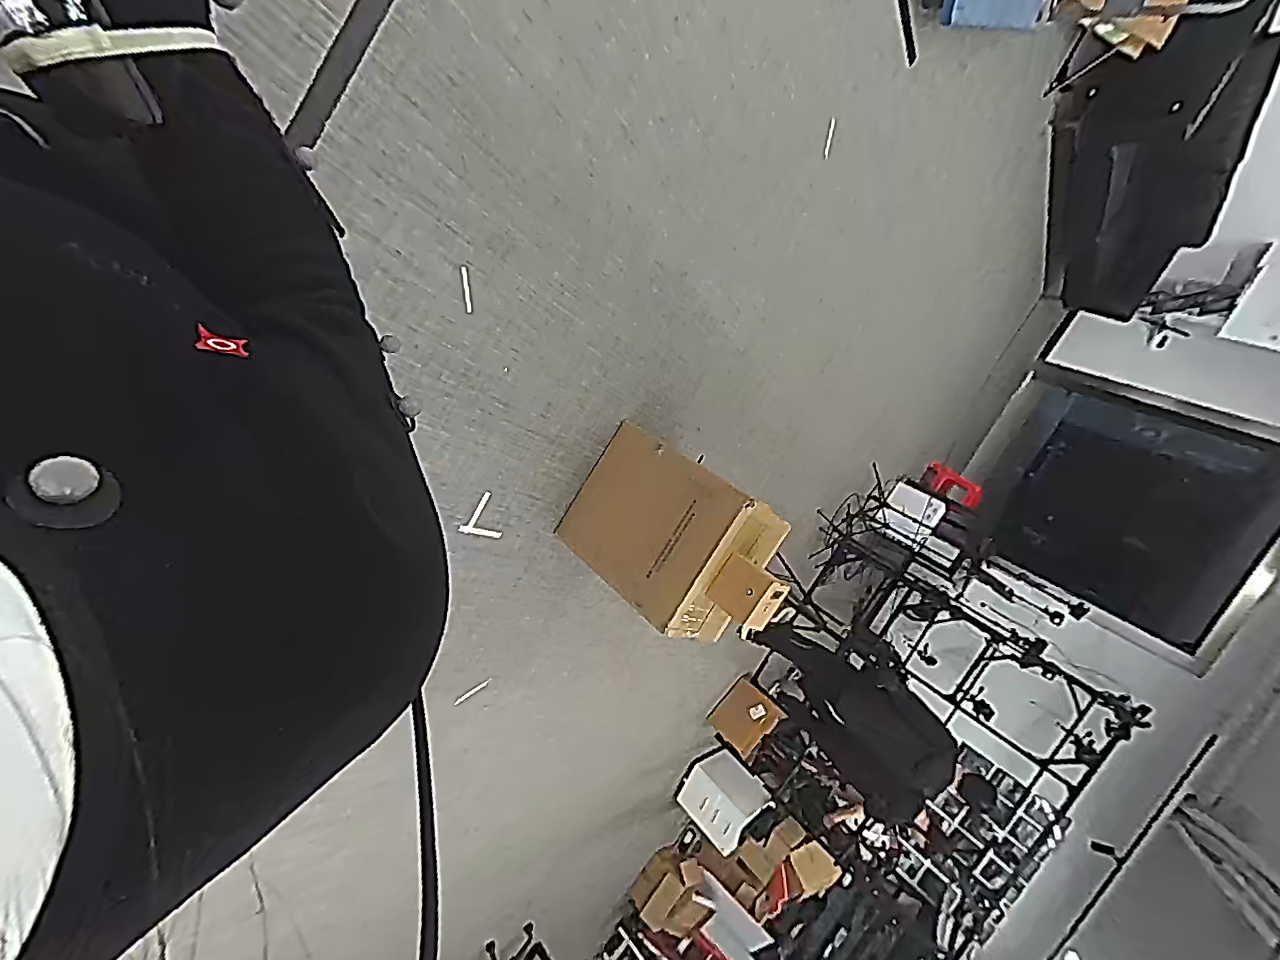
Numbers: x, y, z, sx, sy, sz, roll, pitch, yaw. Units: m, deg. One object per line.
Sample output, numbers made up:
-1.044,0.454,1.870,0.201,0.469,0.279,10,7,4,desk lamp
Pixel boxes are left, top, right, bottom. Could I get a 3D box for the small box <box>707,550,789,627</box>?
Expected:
0.350,0.354,1.769,0.179,0.176,0.168,-57,142,3,small box
